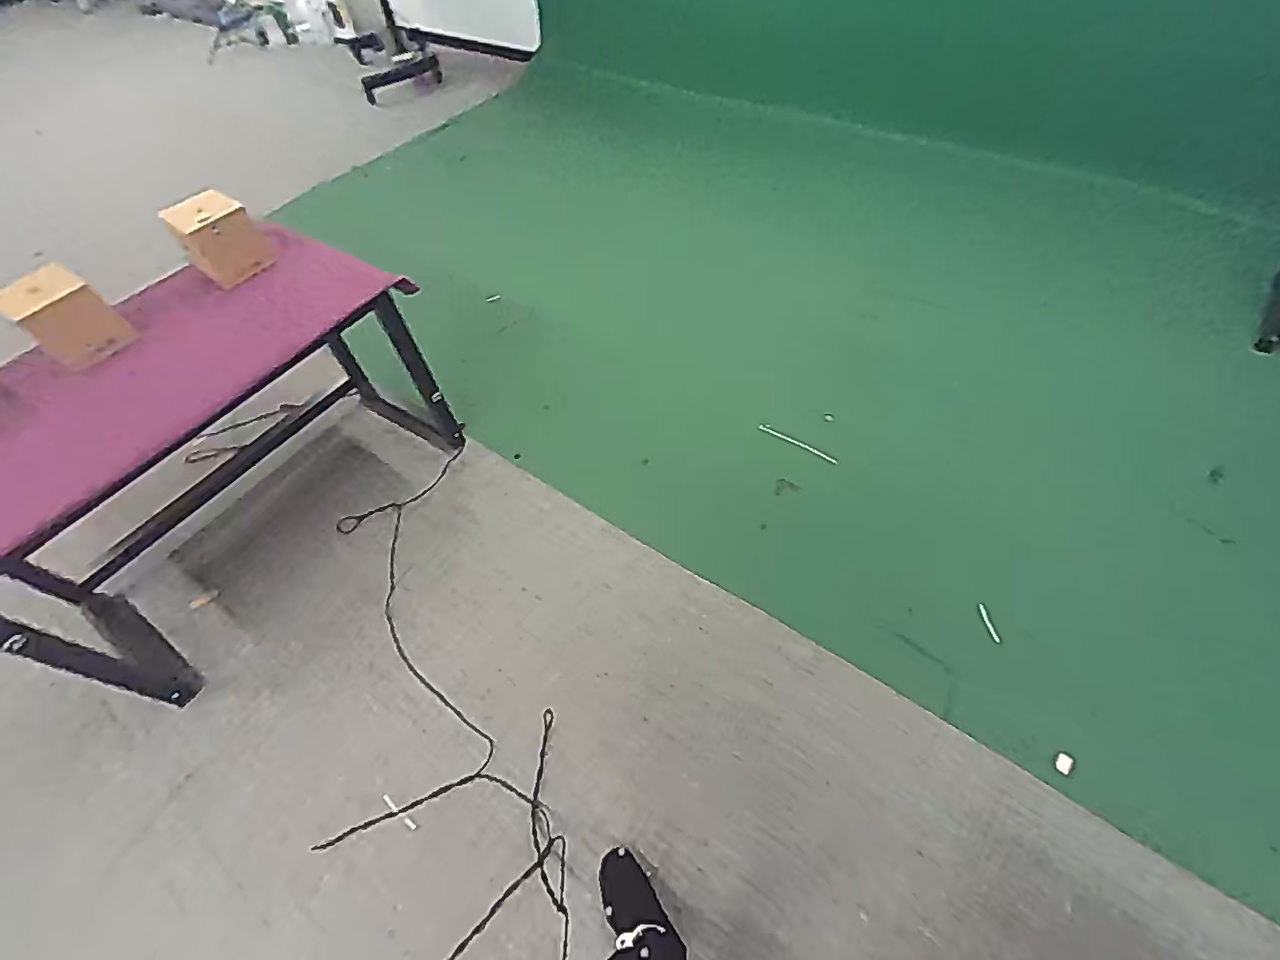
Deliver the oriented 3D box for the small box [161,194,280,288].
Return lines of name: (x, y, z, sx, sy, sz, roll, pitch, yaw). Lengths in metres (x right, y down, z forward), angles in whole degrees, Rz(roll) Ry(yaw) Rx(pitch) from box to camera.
small box: (-1.178, -0.673, 1.530, 0.179, 0.176, 0.168, 30, 63, 23)

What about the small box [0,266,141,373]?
small box: (-1.428, -0.398, 1.354, 0.179, 0.176, 0.168, 28, 62, 21)
